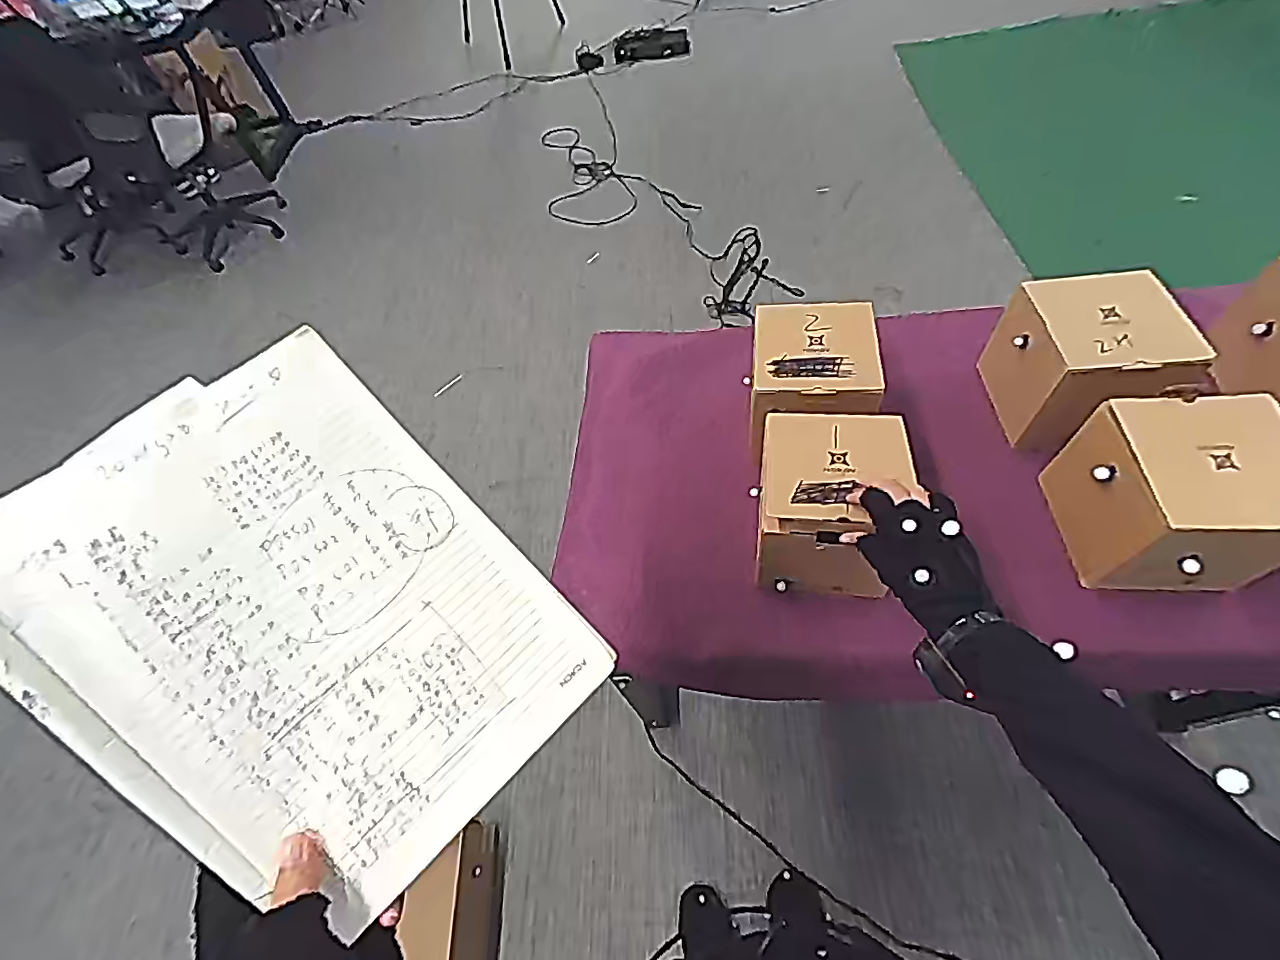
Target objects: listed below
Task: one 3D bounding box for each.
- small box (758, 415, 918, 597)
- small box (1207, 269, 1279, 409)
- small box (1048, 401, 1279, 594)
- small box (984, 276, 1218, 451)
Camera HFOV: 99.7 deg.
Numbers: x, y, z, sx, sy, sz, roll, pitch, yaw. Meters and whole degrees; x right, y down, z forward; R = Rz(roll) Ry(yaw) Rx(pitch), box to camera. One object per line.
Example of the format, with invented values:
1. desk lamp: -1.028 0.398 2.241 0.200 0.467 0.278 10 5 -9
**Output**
1. small box: 0.242 0.038 0.699 0.168 0.176 0.179 4 57 11
2. small box: 0.934 -0.174 0.727 0.168 0.176 0.179 1 57 11
3. small box: 0.635 0.027 0.645 0.168 0.176 0.179 0 58 10
4. small box: 0.624 -0.160 0.767 0.168 0.176 0.179 -2 57 8
